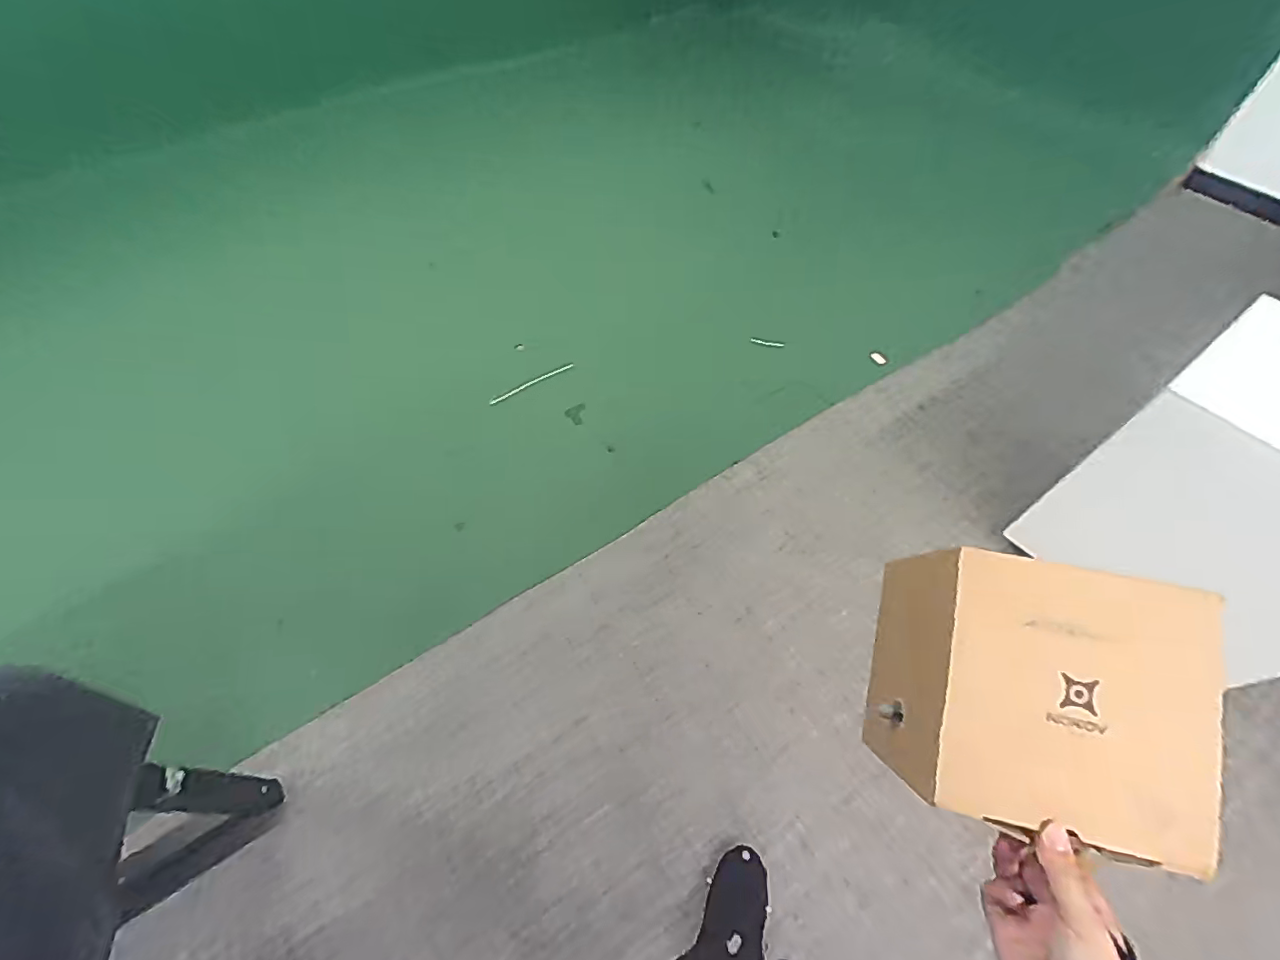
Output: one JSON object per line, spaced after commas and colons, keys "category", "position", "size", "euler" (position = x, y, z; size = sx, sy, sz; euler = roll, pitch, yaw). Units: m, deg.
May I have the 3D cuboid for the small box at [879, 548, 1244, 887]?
{"category": "small box", "position": [0.304, 0.164, 0.428], "size": [0.168, 0.176, 0.179], "euler": [11, 78, 9]}
